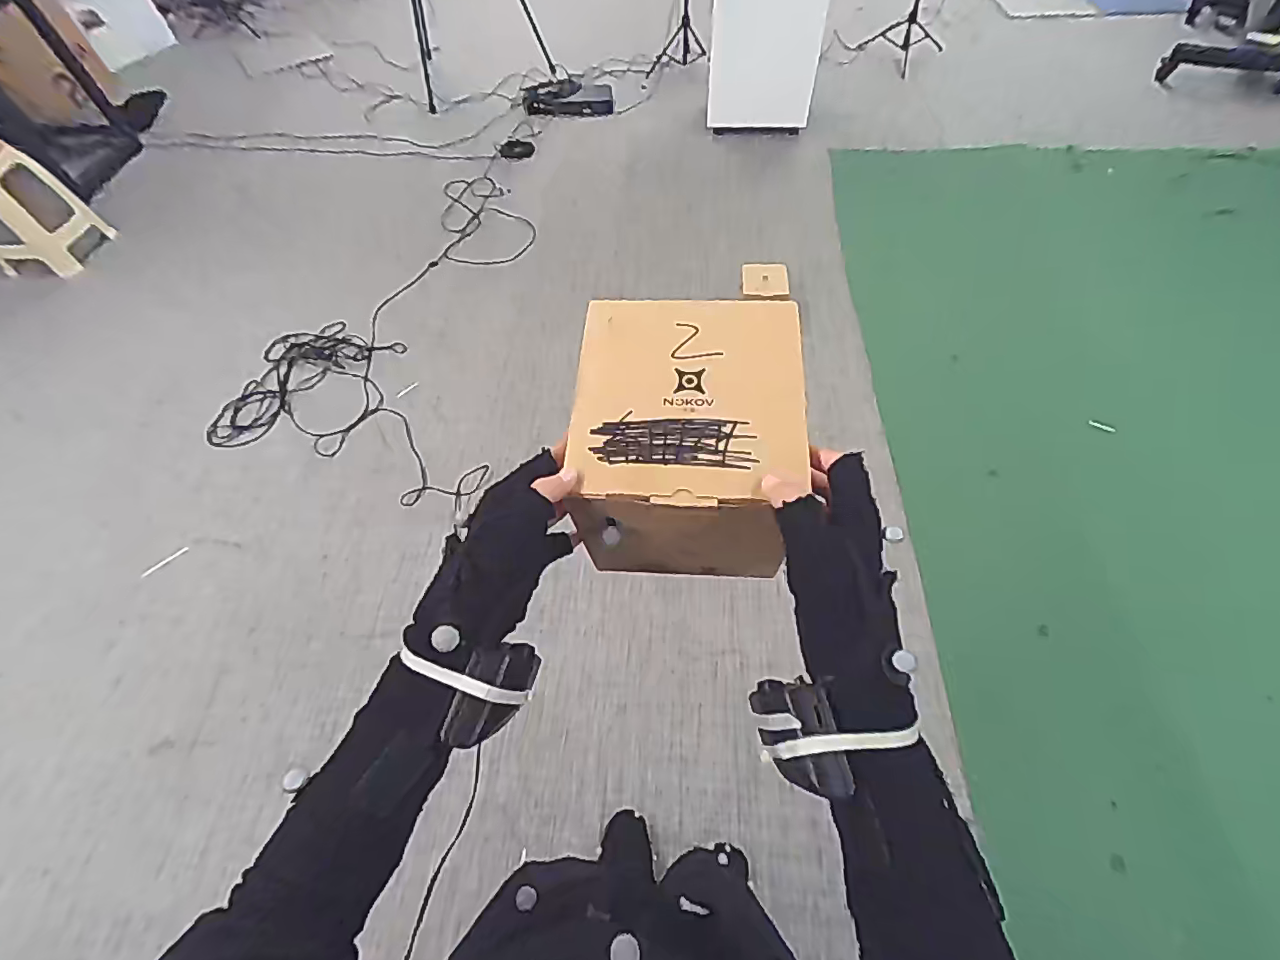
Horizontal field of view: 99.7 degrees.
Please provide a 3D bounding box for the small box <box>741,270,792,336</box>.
[{"bbox_3d":[0.474,-0.671,2.051,0.168,0.176,0.179,2,58,5],"label":"small box"}]
